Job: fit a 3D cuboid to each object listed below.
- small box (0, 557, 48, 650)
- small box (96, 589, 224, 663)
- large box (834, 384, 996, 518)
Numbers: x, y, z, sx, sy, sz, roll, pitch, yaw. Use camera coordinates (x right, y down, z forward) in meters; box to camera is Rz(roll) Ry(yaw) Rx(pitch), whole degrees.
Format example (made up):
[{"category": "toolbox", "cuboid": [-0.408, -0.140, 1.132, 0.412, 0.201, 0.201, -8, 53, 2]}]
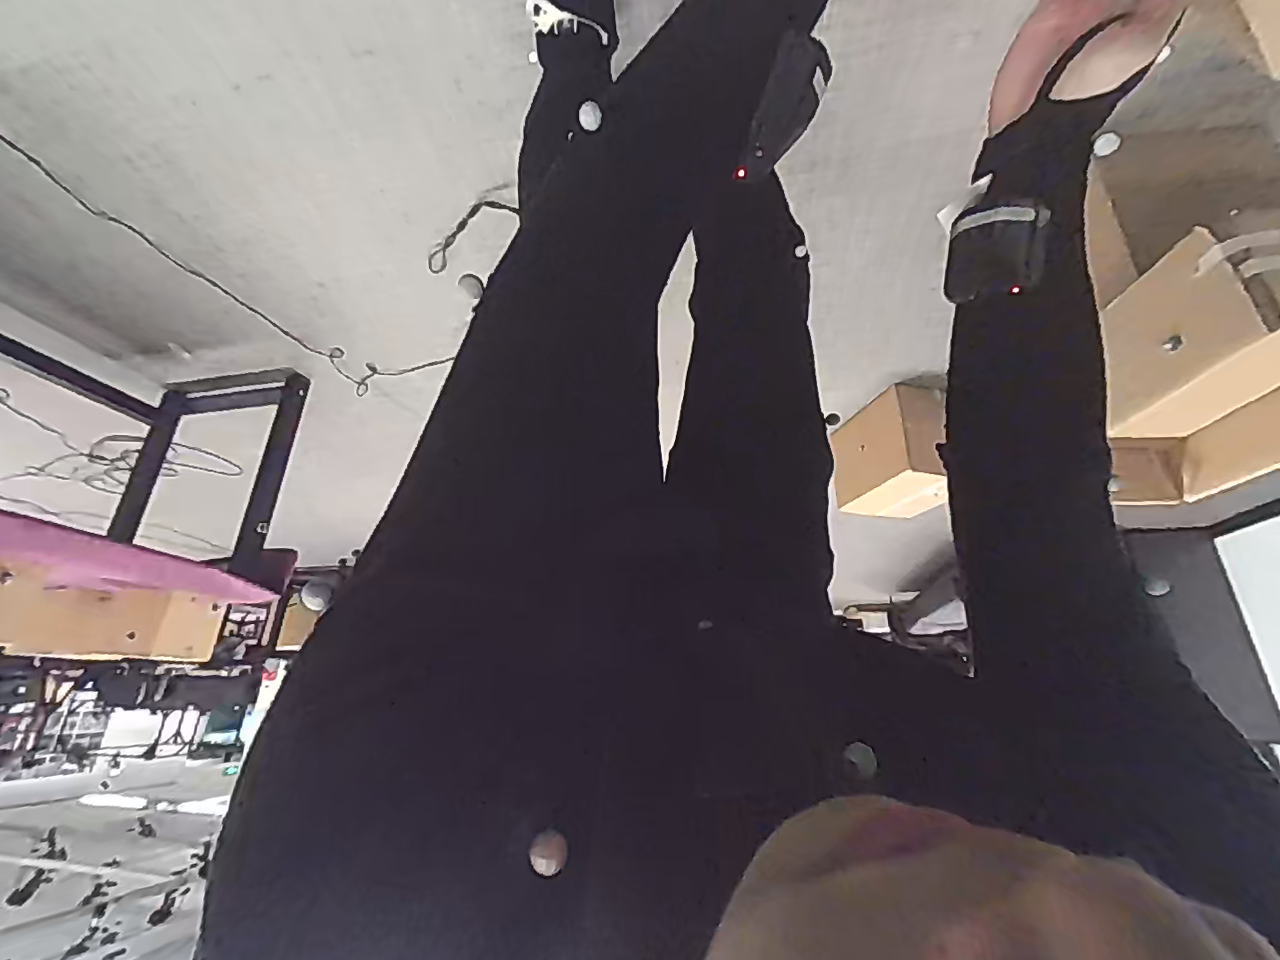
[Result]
[{"category": "small box", "cuboid": [-1.333, 0.233, 1.052, 0.179, 0.176, 0.168, -2, 159, 11]}, {"category": "small box", "cuboid": [-1.234, 0.382, 1.409, 0.179, 0.176, 0.168, -1, 158, 10]}, {"category": "large box", "cuboid": [0.930, -0.085, 1.894, 0.320, 0.320, 0.408, 5, 157, -11]}]
